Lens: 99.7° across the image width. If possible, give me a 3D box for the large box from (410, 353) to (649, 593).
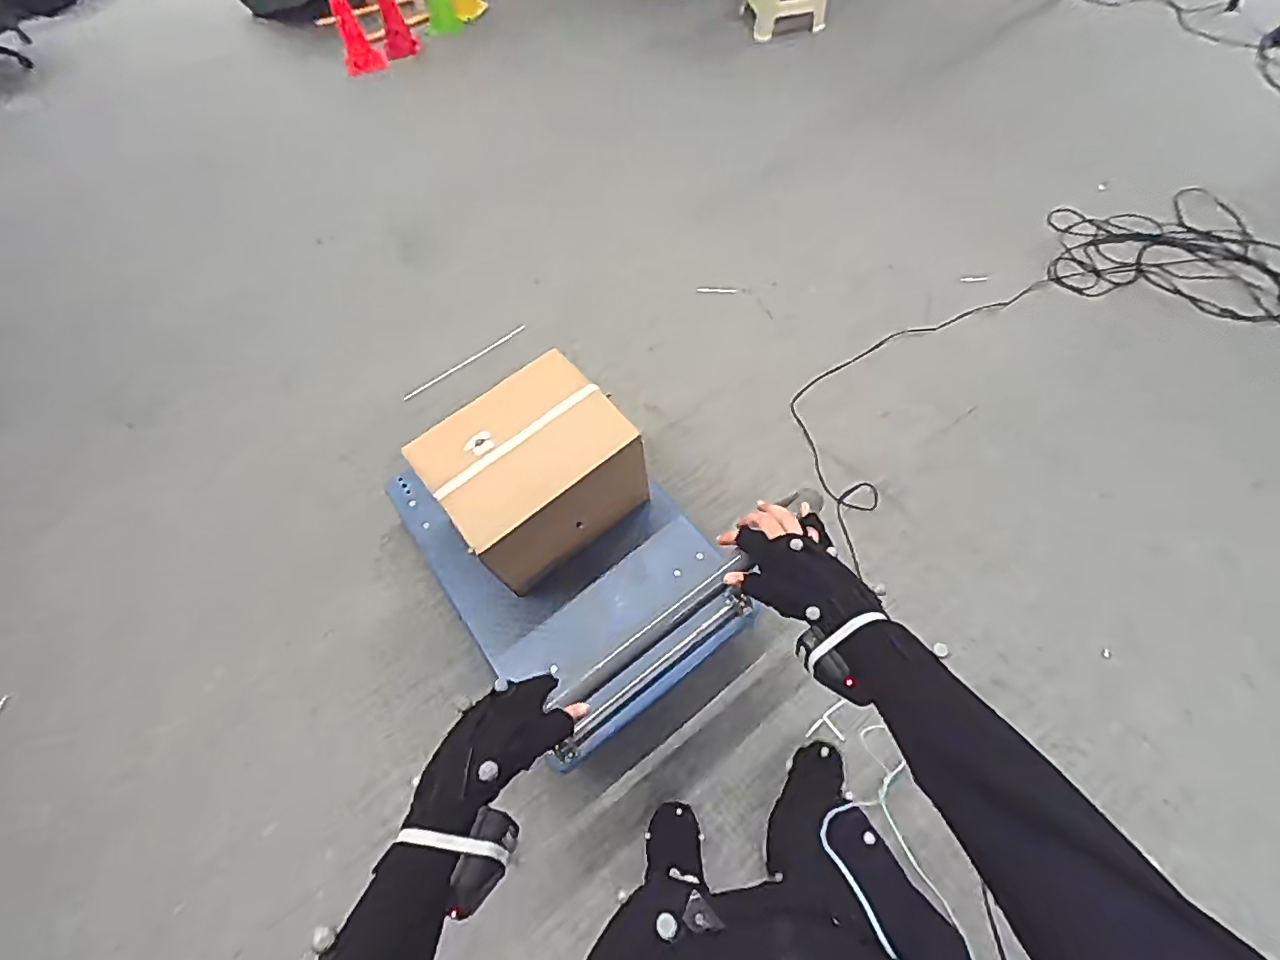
[{"bbox_3d":[-0.230,-0.008,1.262,0.408,0.320,0.320,-39,66,-13],"label":"large box"}]
